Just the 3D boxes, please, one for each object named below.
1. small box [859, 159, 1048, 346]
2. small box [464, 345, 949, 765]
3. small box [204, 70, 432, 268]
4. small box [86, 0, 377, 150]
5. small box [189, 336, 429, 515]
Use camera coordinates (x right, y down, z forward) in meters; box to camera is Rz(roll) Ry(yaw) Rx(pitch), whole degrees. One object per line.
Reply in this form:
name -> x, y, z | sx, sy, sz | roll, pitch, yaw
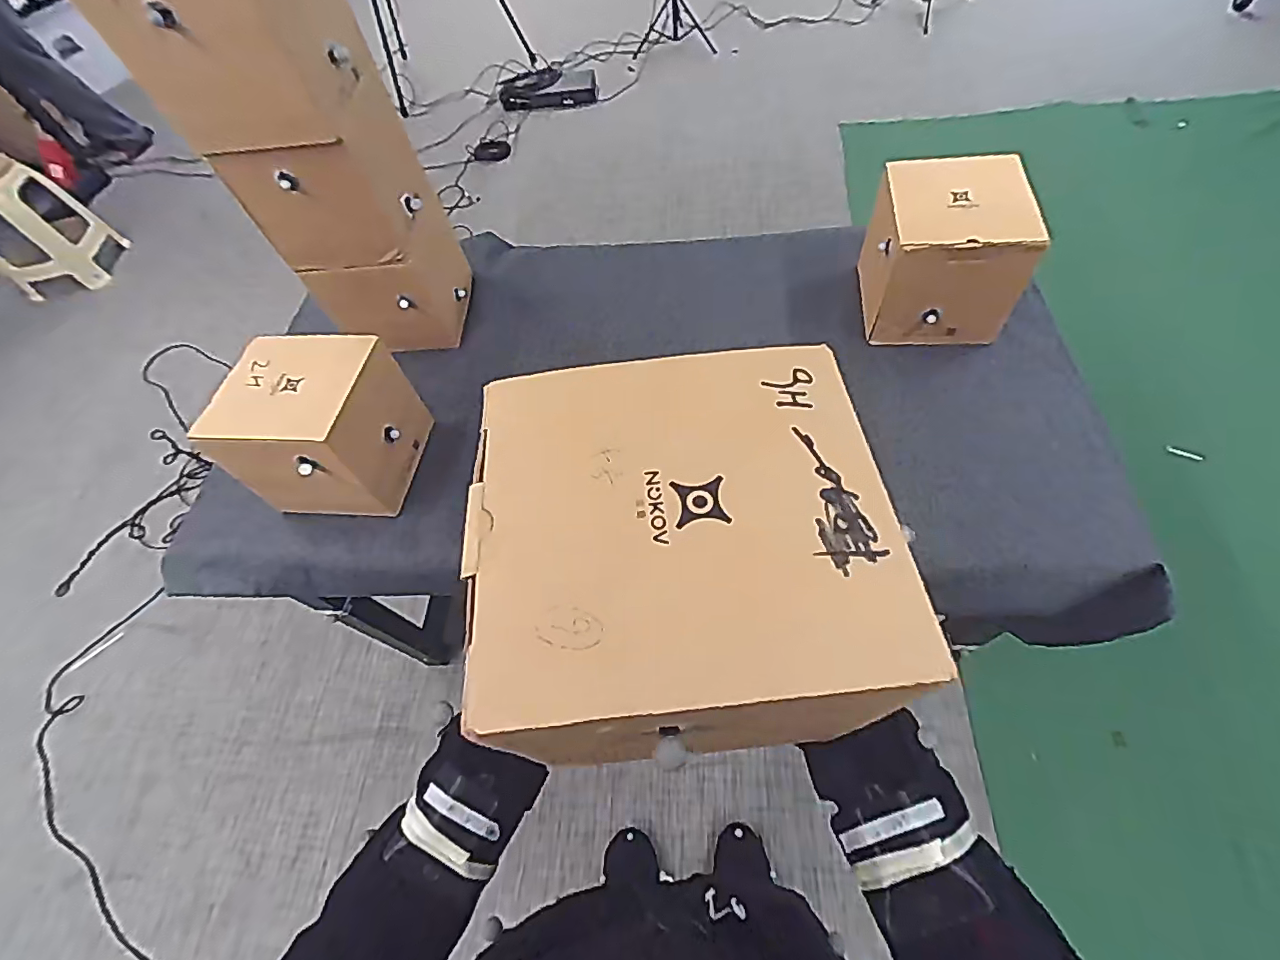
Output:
small box -> 0.410, -0.308, 0.745 | 0.168, 0.176, 0.179 | 2, 61, 9
small box -> 0.022, 0.053, 0.298 | 0.179, 0.176, 0.168 | -7, 59, 0
small box -> -0.406, -0.403, 0.717 | 0.179, 0.176, 0.168 | -3, 61, 4
small box -> -0.419, -0.476, 0.571 | 0.179, 0.176, 0.168 | -1, 61, 5
small box -> -0.403, -0.065, 0.701 | 0.179, 0.176, 0.168 | 2, 57, 8
